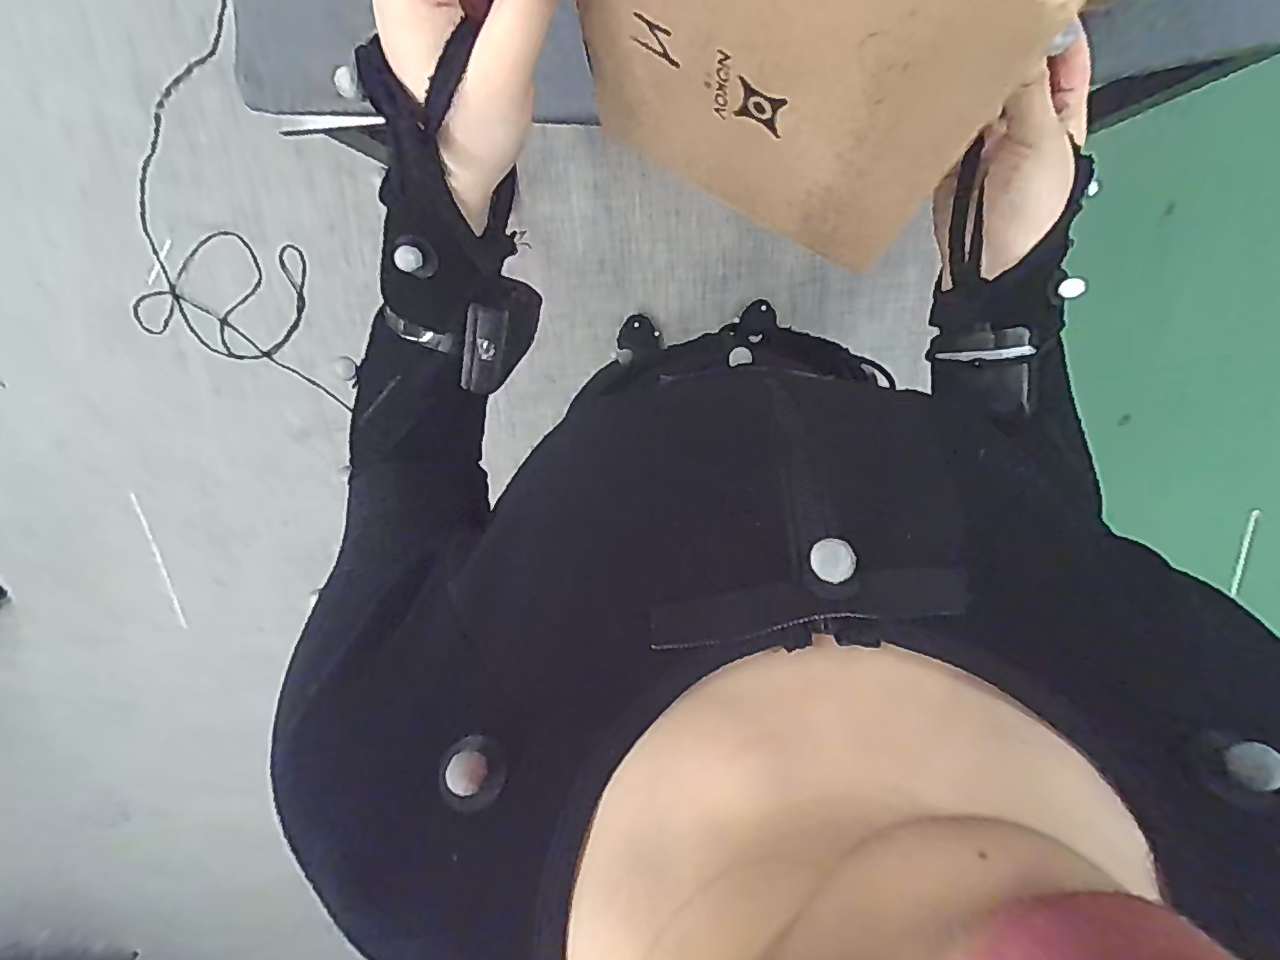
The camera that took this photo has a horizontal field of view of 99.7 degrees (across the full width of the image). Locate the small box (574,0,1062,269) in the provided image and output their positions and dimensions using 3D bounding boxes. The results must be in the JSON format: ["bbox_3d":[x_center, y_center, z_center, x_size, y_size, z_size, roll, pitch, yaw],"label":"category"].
[{"bbox_3d":[0.087,-0.231,0.225,0.179,0.168,0.176,35,93,5],"label":"small box"}]
